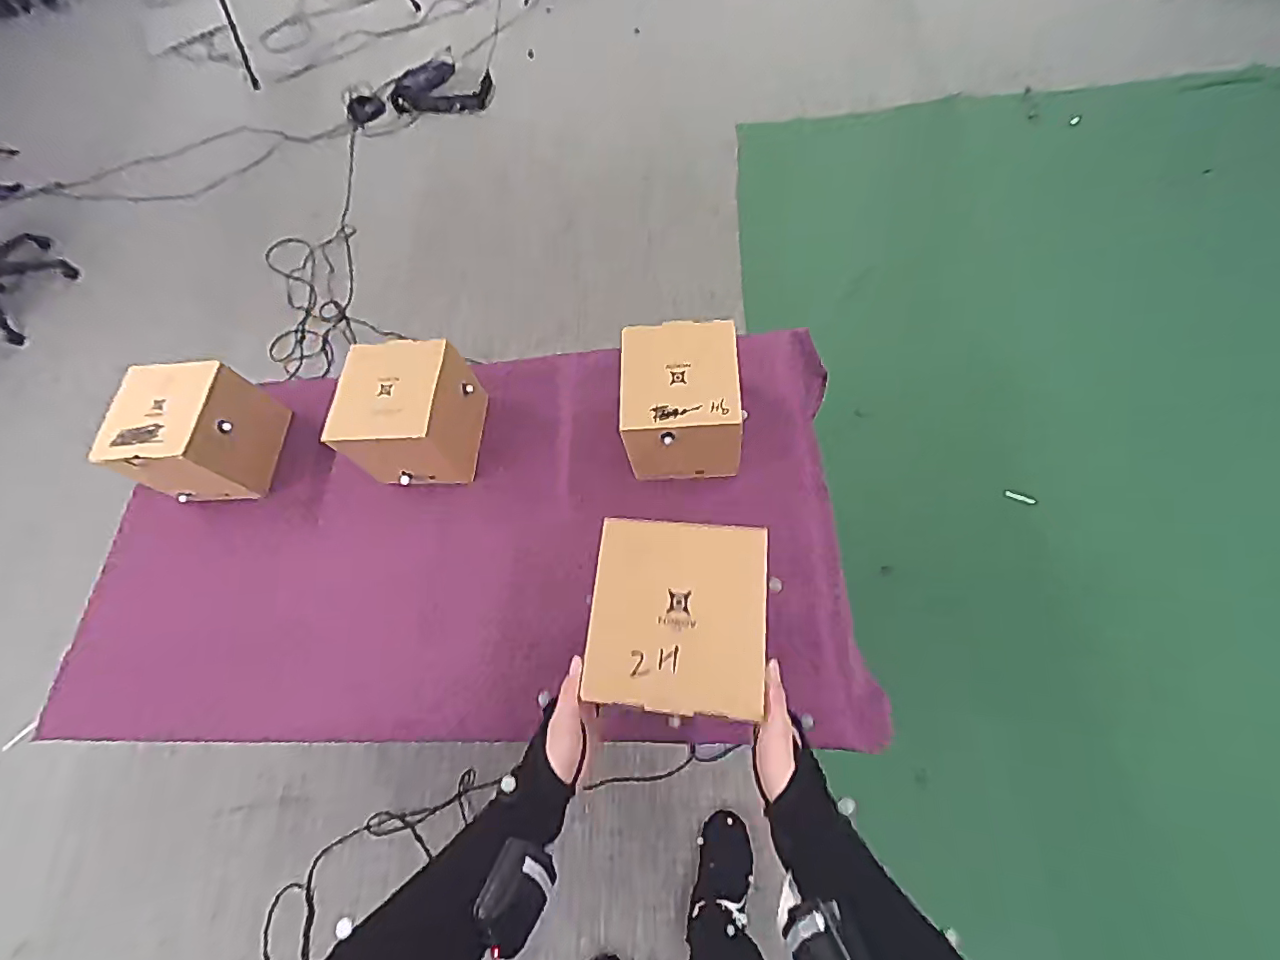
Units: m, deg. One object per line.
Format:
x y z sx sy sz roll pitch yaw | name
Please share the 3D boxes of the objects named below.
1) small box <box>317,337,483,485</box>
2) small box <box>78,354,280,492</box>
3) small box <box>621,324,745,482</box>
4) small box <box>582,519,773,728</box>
-0.366 -0.106 0.865 0.168 0.176 0.179 0 67 7 | small box
-0.742 -0.085 0.896 0.168 0.176 0.179 -1 67 6 | small box
0.067 -0.109 0.813 0.168 0.176 0.179 -1 66 7 | small box
0.046 0.155 0.576 0.168 0.176 0.179 4 69 8 | small box
